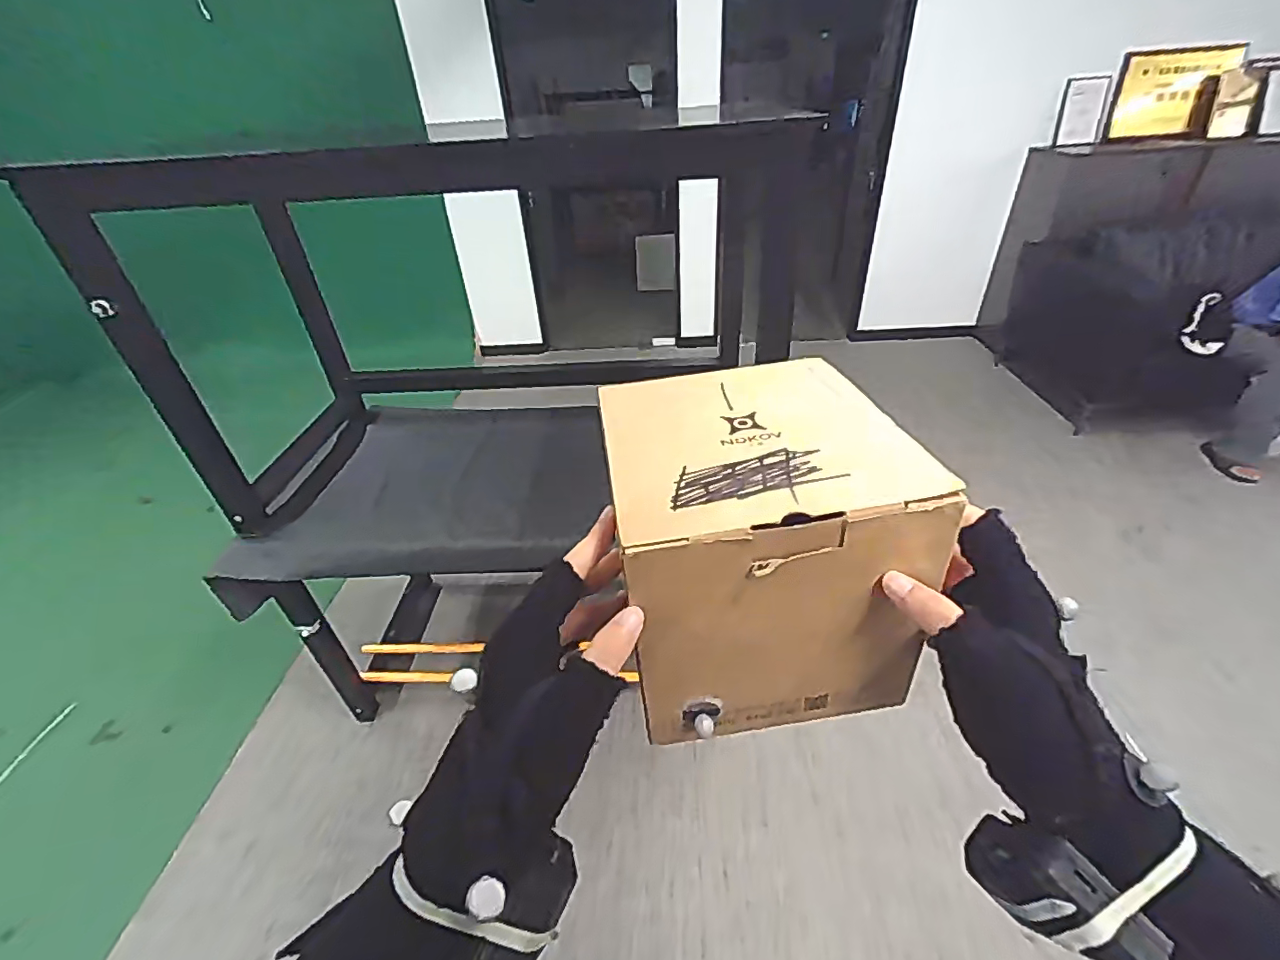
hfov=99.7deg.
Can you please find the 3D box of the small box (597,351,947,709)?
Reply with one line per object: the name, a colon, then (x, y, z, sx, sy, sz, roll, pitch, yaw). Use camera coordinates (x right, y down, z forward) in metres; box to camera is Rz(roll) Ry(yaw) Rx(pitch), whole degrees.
small box: (0.066, 0.032, 0.365, 0.168, 0.176, 0.179, -8, 33, -3)
